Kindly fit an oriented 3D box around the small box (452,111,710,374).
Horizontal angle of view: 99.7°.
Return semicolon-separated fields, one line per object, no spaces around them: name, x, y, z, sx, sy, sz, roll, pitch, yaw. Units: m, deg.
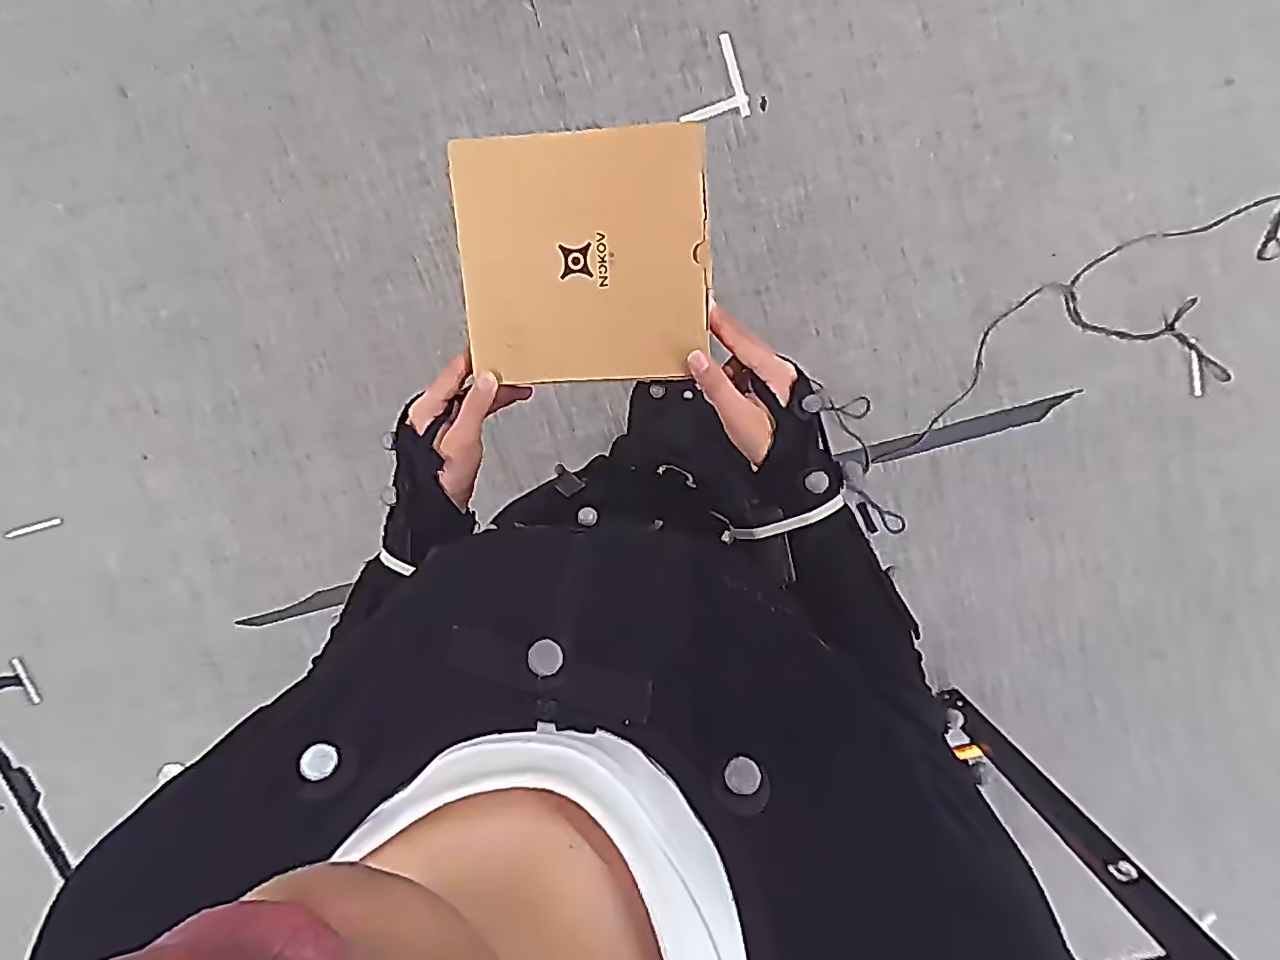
small box;-0.034;-0.176;0.454;0.179;0.176;0.168;-2;102;3
